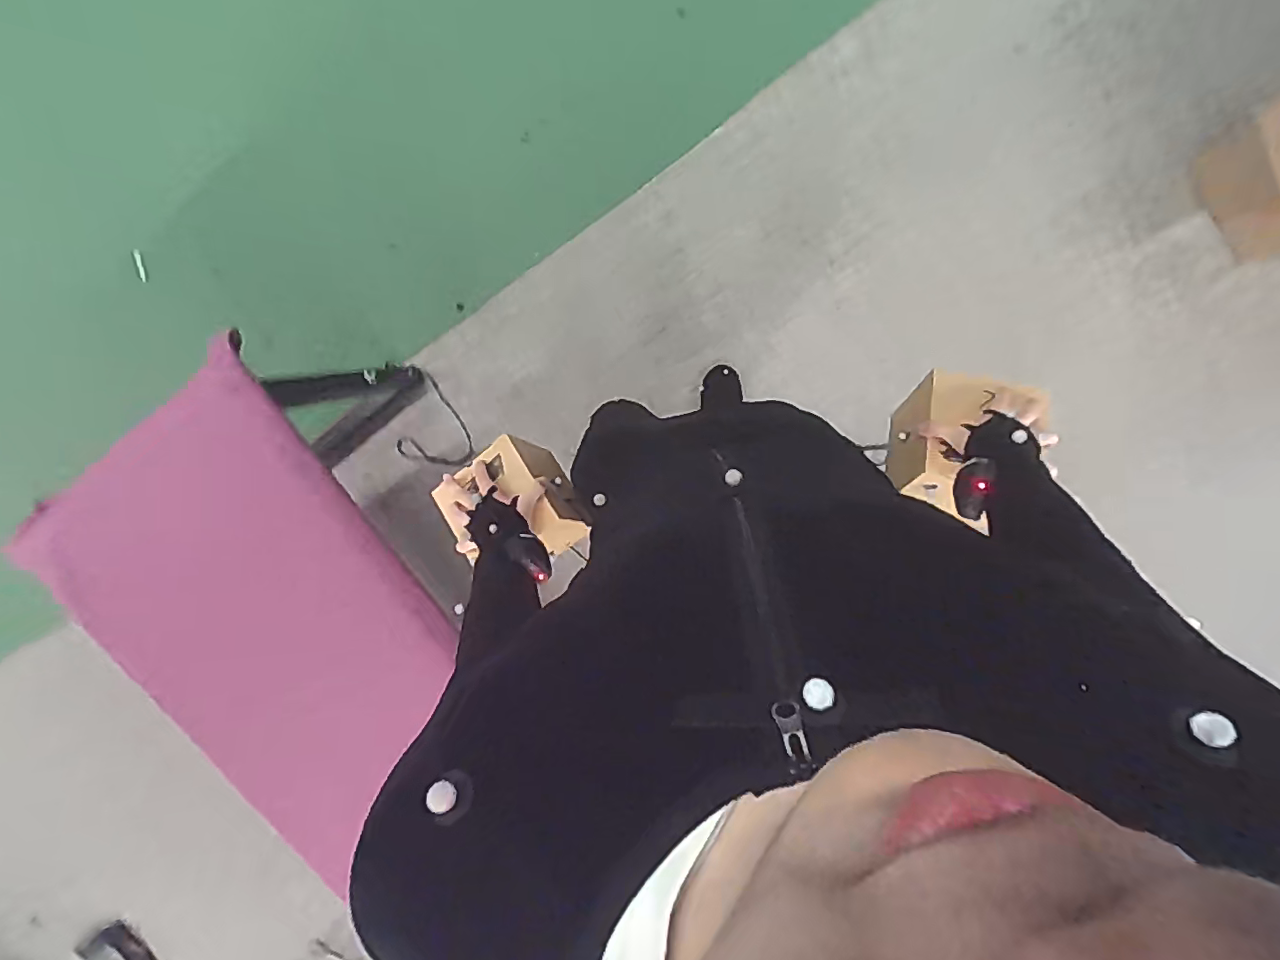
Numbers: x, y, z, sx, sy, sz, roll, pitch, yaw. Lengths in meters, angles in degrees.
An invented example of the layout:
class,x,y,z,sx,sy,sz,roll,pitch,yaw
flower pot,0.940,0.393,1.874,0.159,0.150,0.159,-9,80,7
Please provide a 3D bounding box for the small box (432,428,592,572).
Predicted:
class,x,y,z,sx,sy,sz,roll,pitch,yaw
small box,-0.211,0.041,0.927,0.168,0.176,0.179,-37,75,9
